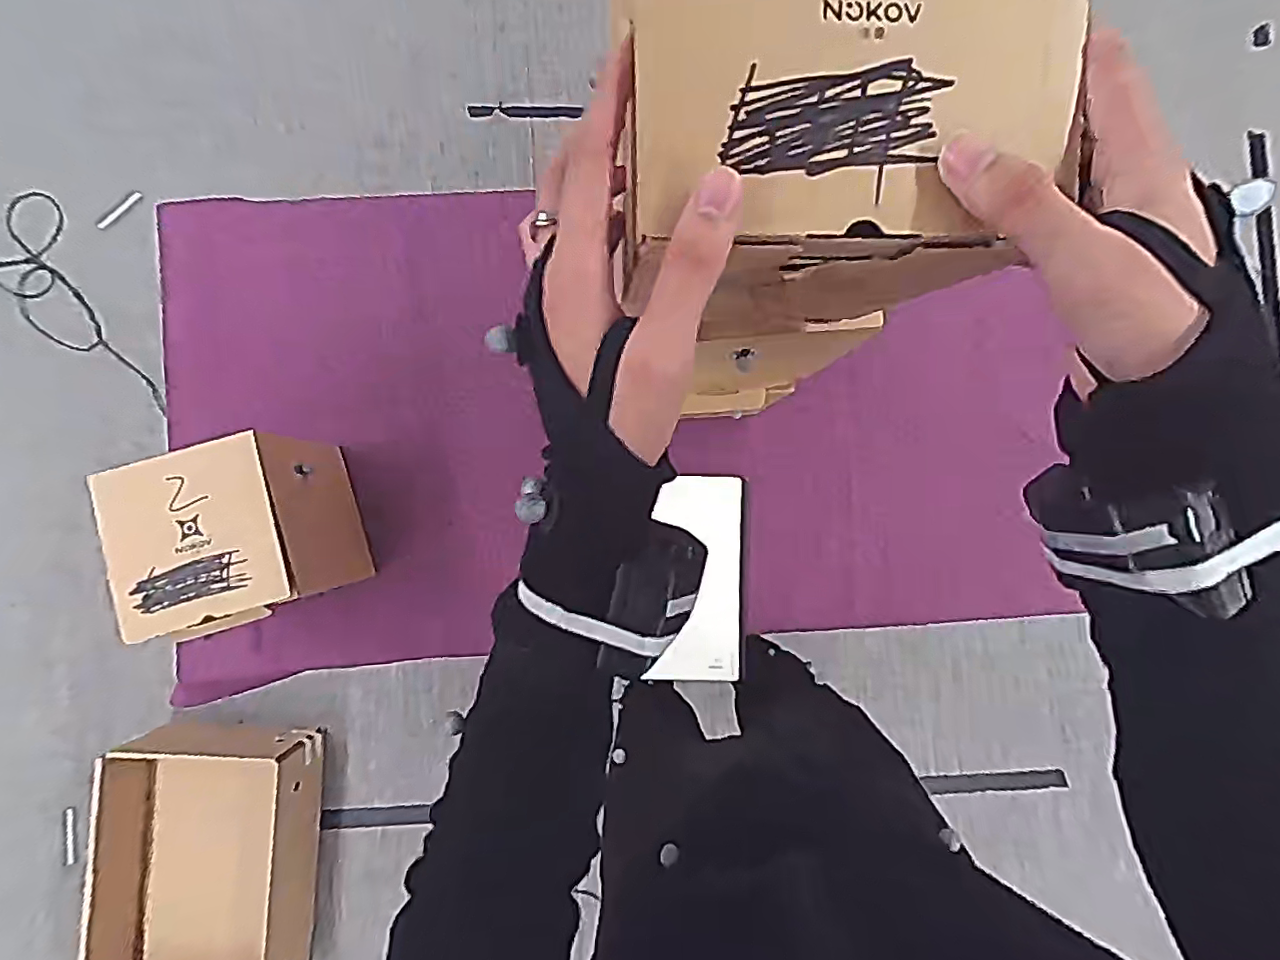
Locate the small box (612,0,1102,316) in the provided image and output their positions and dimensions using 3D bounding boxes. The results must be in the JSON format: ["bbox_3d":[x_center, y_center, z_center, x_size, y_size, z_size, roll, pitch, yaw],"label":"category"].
[{"bbox_3d":[0.072,-0.180,0.262,0.168,0.176,0.179,-2,96,-5],"label":"small box"}]

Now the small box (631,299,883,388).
[{"bbox_3d":[0.080,-0.179,0.466,0.179,0.176,0.168,-4,88,-3],"label":"small box"}]

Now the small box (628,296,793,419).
[{"bbox_3d":[0.071,-0.167,0.631,0.168,0.176,0.179,-3,88,-2],"label":"small box"}]
